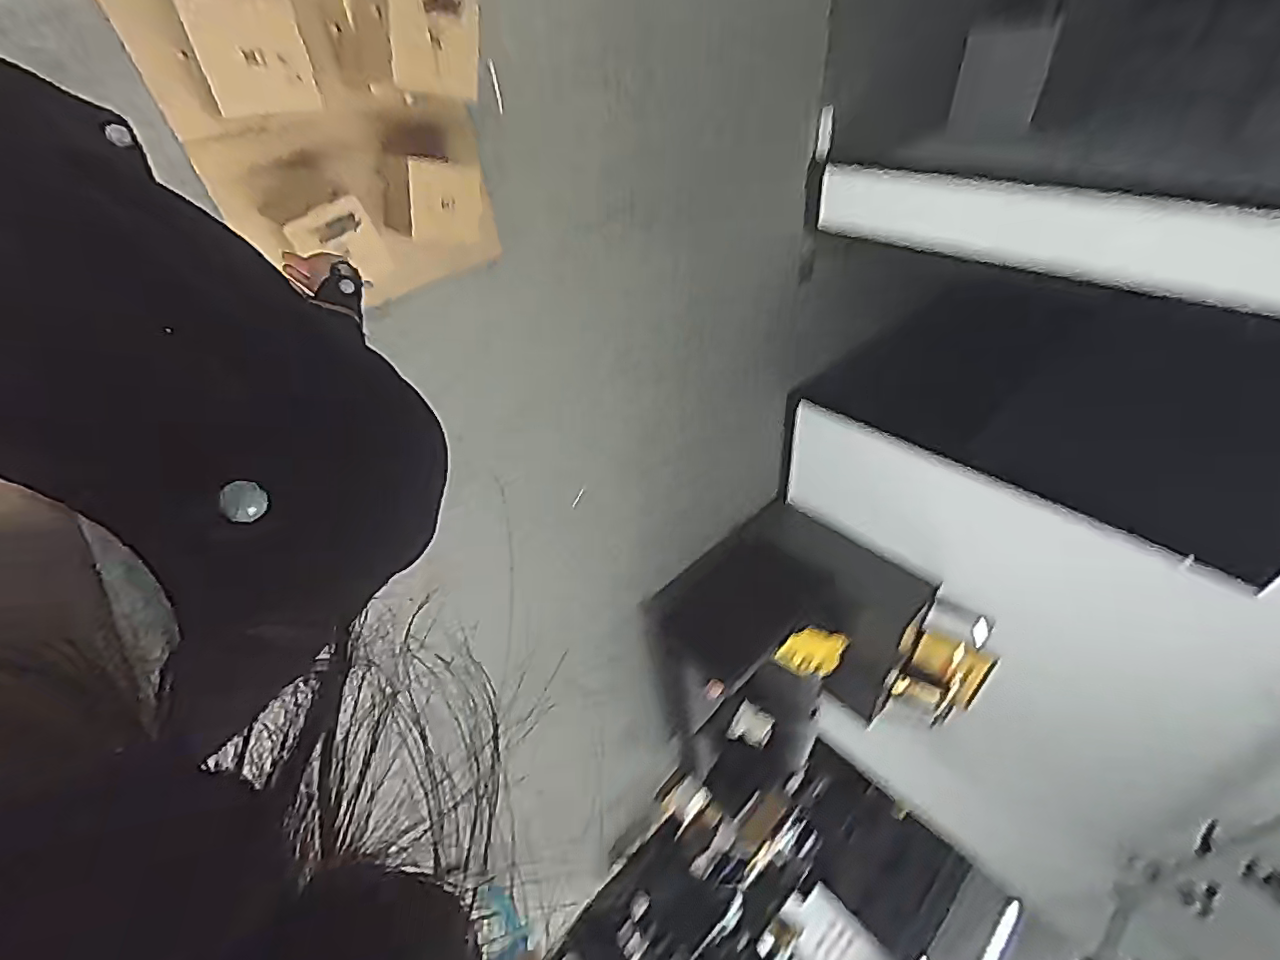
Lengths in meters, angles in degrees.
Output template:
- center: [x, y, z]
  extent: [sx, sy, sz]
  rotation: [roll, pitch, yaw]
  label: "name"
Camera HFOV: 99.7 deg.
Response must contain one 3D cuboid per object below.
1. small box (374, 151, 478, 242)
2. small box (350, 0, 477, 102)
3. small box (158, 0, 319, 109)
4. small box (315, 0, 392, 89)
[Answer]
- center: [-0.510, -0.677, 1.293]
  extent: [0.179, 0.176, 0.168]
  rotation: [-18, 130, -42]
  label: "small box"
- center: [-0.421, -0.829, 1.003]
  extent: [0.168, 0.176, 0.179]
  rotation: [-18, 131, -42]
  label: "small box"
- center: [-0.722, -0.773, 0.973]
  extent: [0.179, 0.176, 0.168]
  rotation: [-30, 138, -32]
  label: "small box"
- center: [-0.530, -0.904, 1.100]
  extent: [0.179, 0.176, 0.168]
  rotation: [-34, 139, -30]
  label: "small box"
